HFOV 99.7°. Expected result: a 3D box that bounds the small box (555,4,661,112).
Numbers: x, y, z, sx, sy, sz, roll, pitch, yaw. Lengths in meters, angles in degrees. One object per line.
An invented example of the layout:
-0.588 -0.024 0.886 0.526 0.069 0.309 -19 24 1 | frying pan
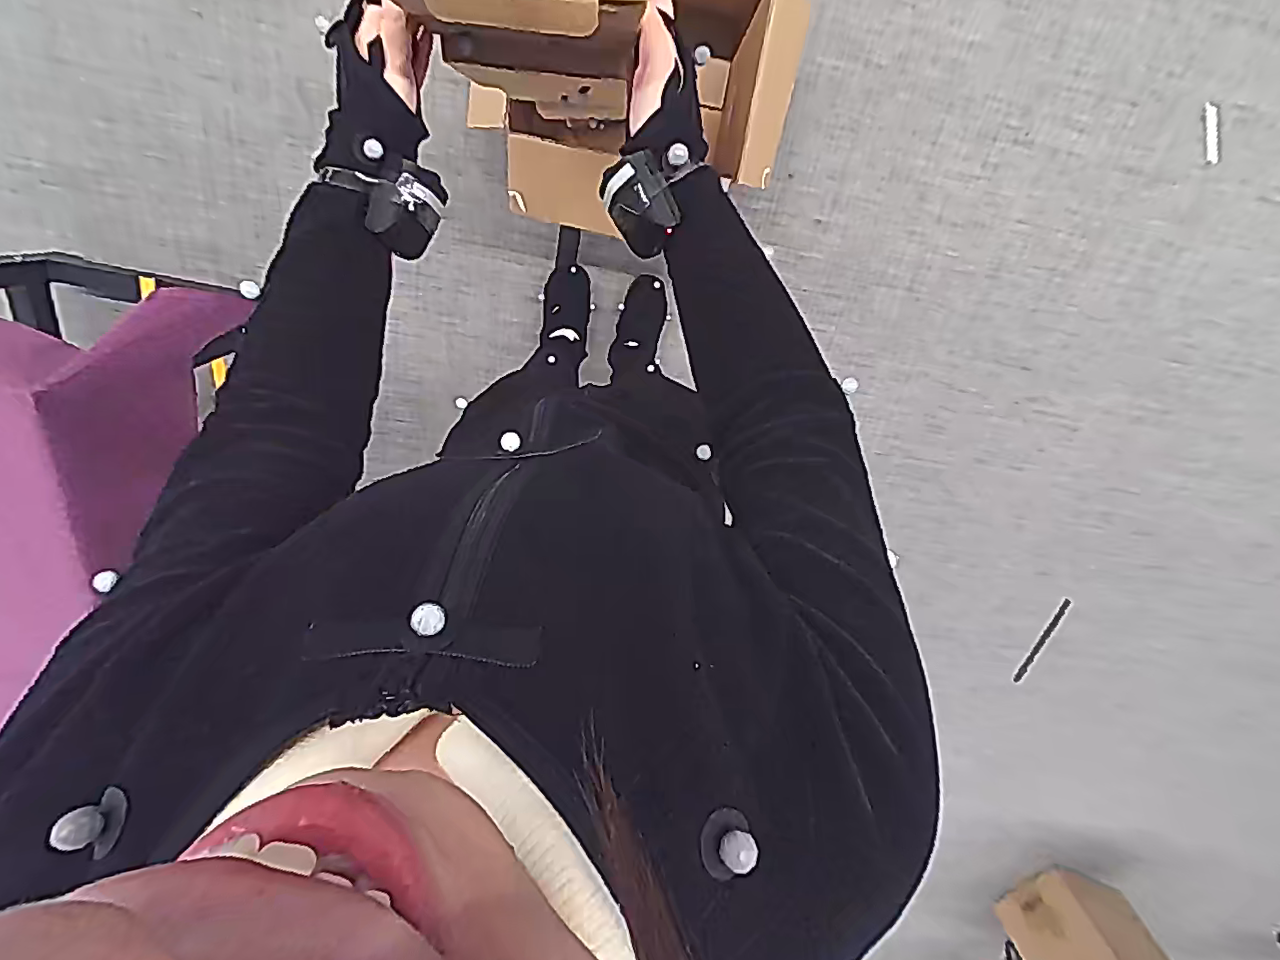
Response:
-0.069 -0.732 0.903 0.179 0.176 0.168 -11 121 0 | small box

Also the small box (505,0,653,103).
-0.078 -0.549 0.628 0.179 0.176 0.168 2 121 -6 | small box

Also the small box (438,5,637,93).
-0.084 -0.467 0.487 0.168 0.176 0.179 2 120 -7 | small box

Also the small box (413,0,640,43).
-0.077 -0.399 0.336 0.168 0.176 0.179 1 120 -7 | small box
